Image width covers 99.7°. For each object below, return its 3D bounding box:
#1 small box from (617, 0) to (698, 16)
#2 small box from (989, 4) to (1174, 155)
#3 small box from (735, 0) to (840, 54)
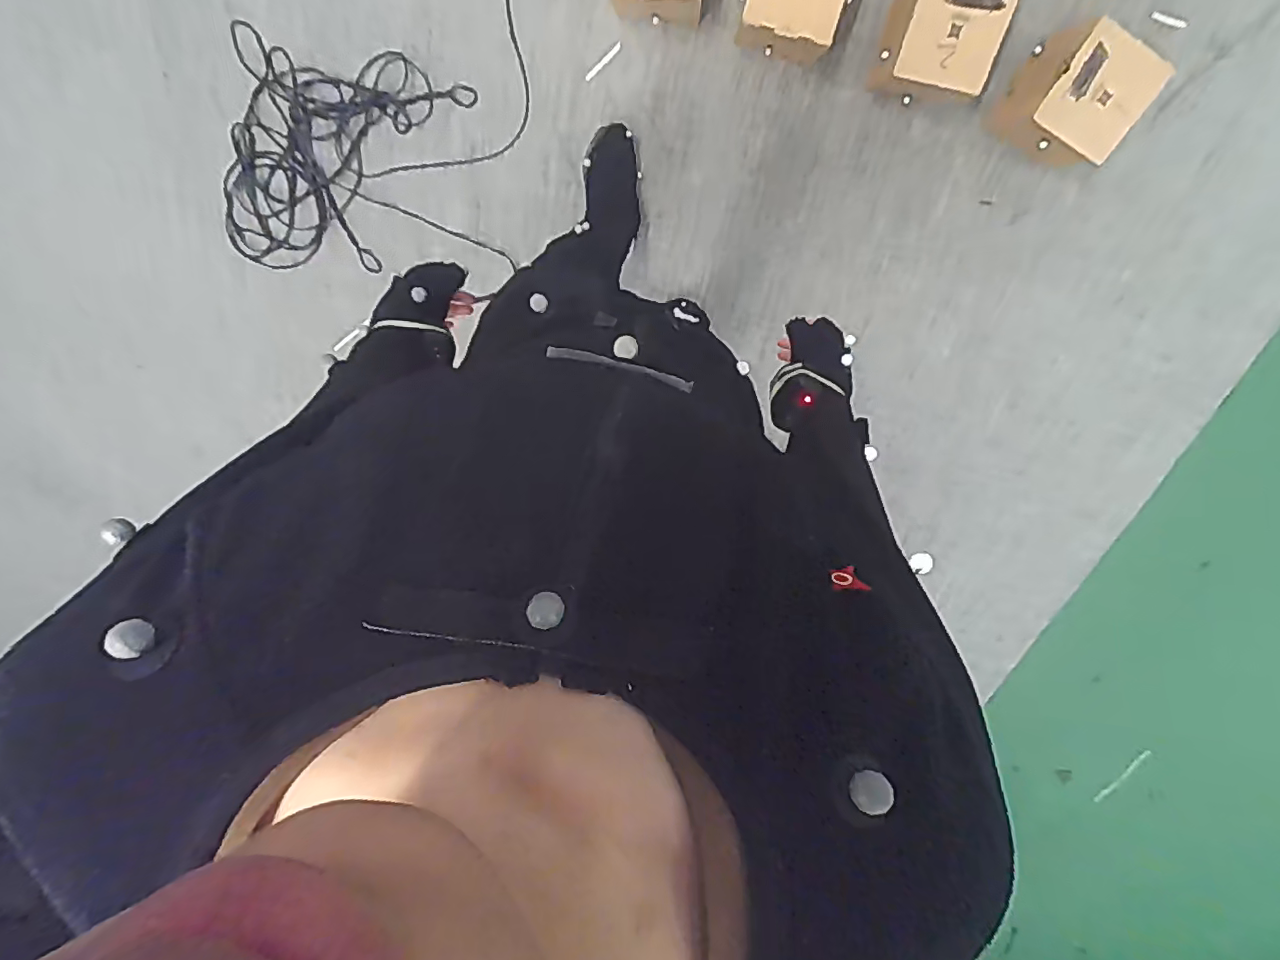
[{"bbox_3d":[0.032,-0.966,0.960,0.168,0.176,0.179,6,119,2],"label":"small box"},{"bbox_3d":[0.820,-0.743,1.029,0.179,0.176,0.168,25,118,-11],"label":"small box"},{"bbox_3d":[0.277,-0.911,0.976,0.168,0.176,0.179,13,119,-3],"label":"small box"}]
